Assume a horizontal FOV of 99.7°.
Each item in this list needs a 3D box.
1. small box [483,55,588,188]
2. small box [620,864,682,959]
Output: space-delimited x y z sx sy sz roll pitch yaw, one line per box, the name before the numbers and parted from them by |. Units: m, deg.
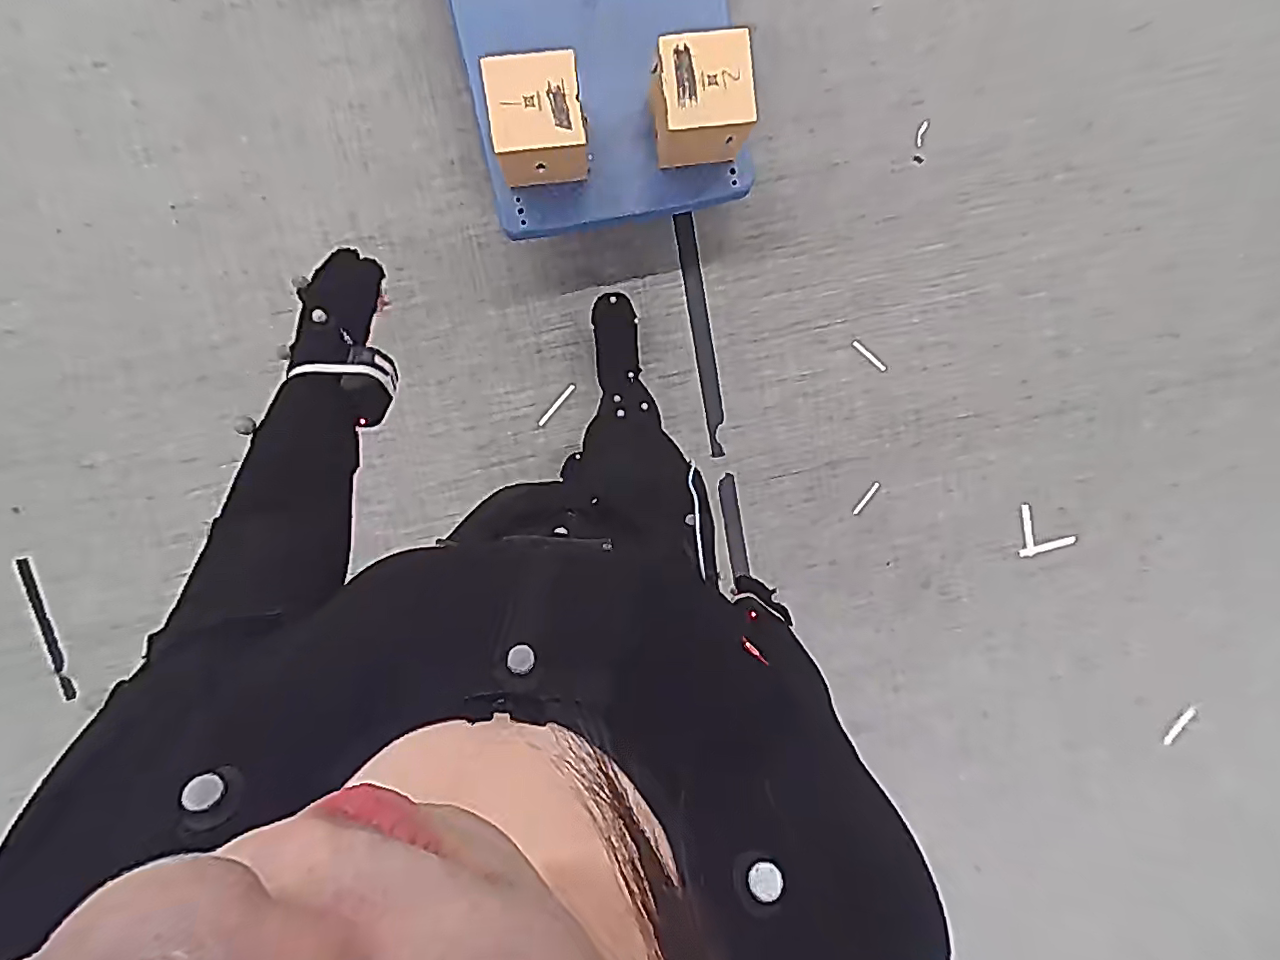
small box | -0.200 -0.709 1.086 0.179 0.176 0.168 -8 99 -2
small box | 0.029 1.279 1.606 0.168 0.176 0.179 -5 100 -2
